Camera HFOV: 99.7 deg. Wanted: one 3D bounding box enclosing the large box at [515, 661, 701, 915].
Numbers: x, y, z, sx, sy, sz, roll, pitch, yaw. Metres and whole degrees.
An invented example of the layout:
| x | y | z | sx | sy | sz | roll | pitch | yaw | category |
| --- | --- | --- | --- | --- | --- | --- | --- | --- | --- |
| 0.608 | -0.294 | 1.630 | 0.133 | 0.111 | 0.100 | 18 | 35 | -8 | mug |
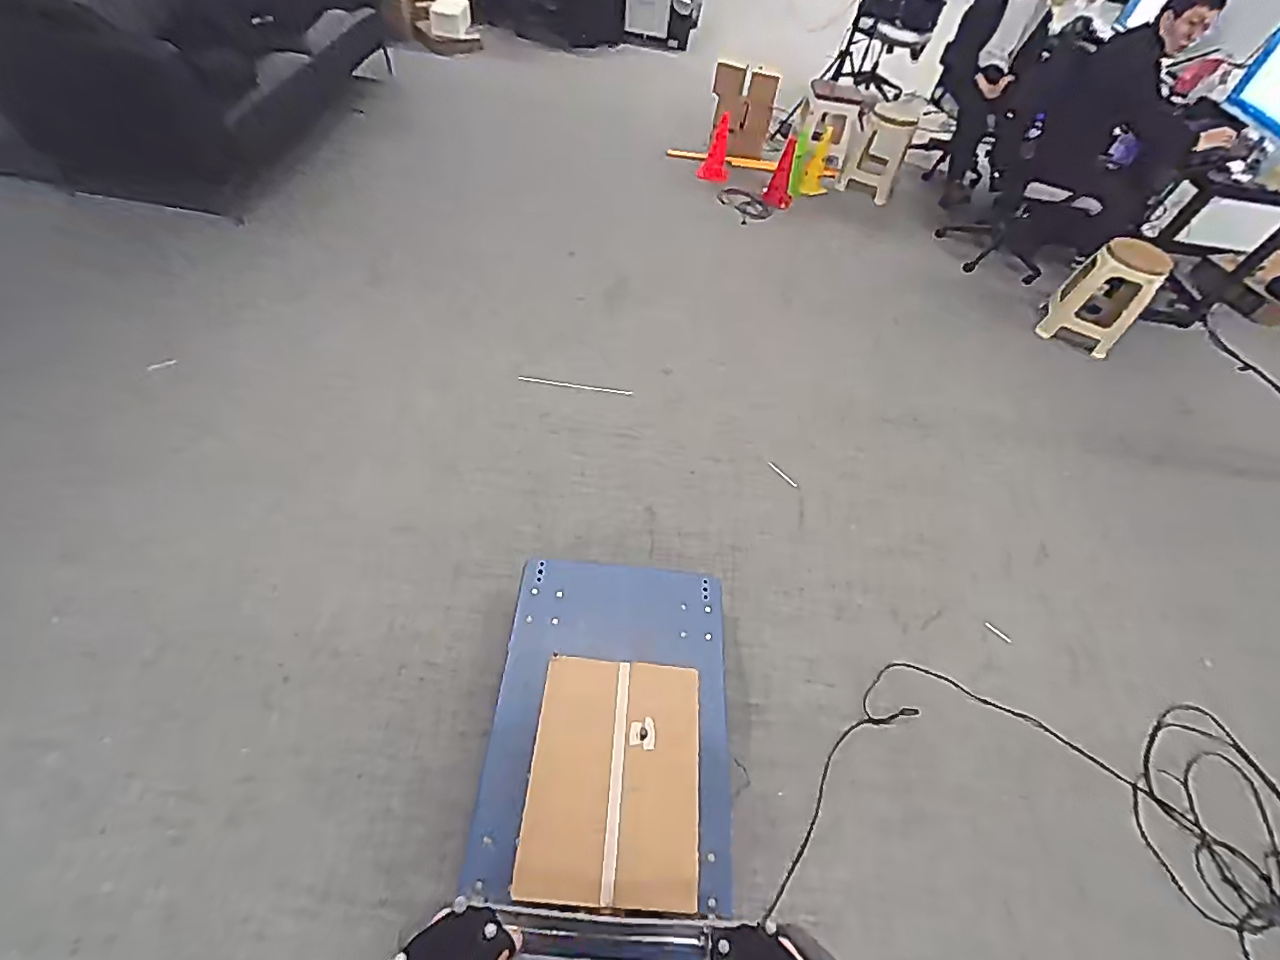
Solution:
| x | y | z | sx | sy | sz | roll | pitch | yaw | category |
| --- | --- | --- | --- | --- | --- | --- | --- | --- | --- |
| -0.058 | 0.634 | 1.114 | 0.320 | 0.320 | 0.408 | 7 | 52 | -3 | large box |
